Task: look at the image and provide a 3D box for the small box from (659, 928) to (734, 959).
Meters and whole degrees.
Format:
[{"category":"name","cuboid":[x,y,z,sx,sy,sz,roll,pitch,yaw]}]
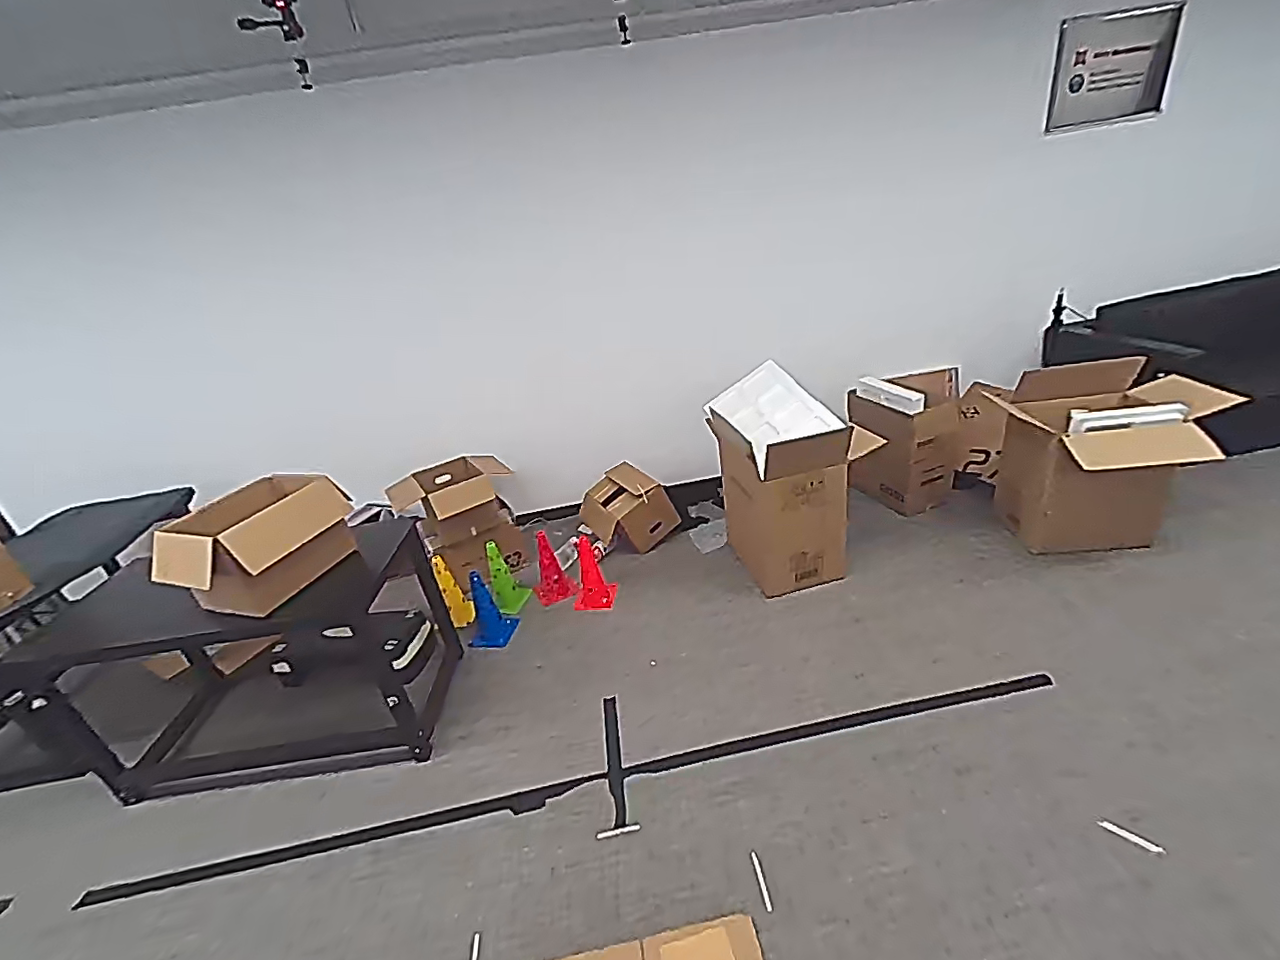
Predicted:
[{"category":"small box","cuboid":[0.147,1.181,1.226,0.168,0.176,0.179,-13,26,-8]}]
